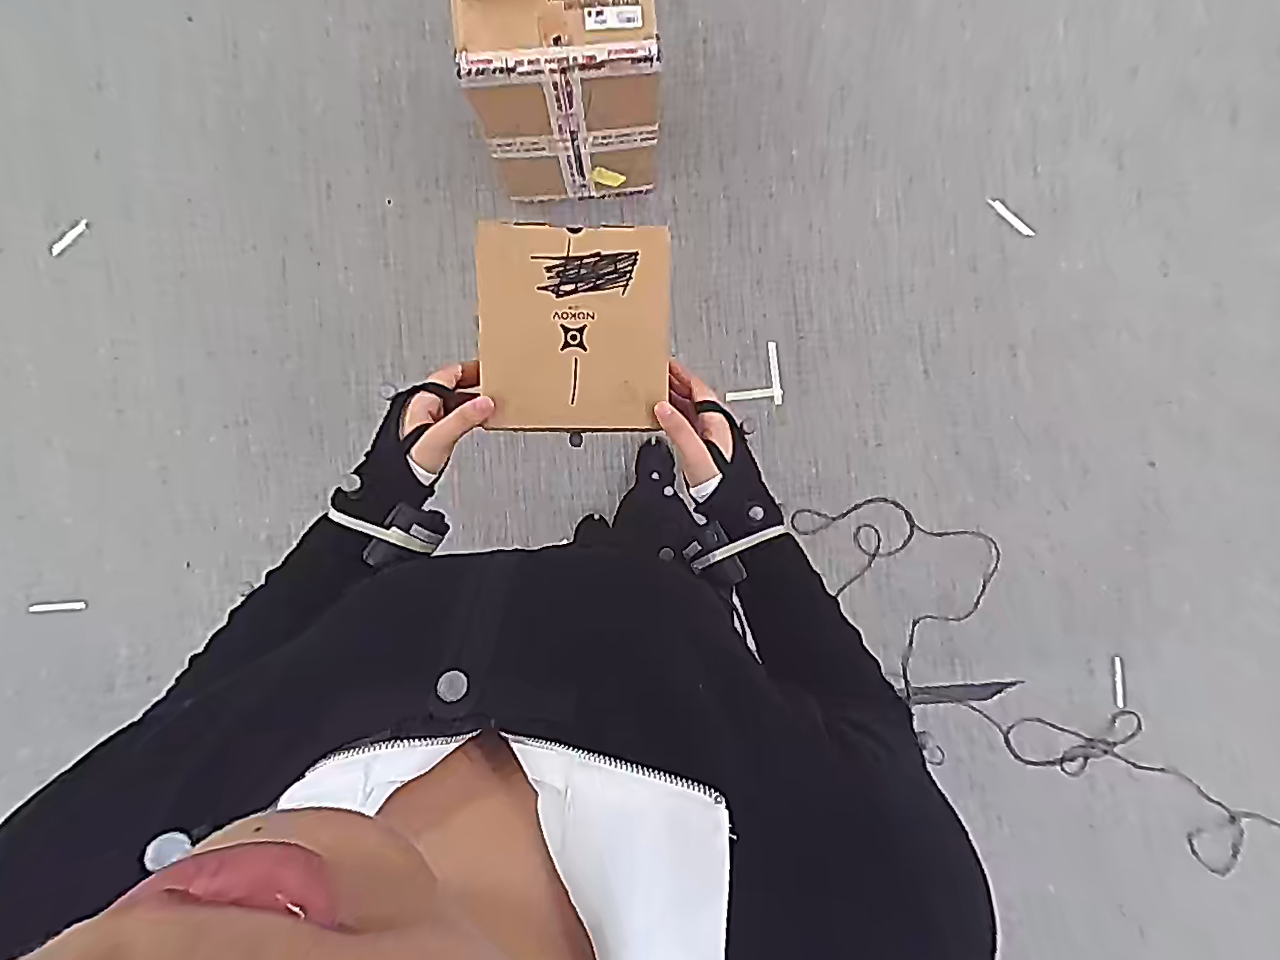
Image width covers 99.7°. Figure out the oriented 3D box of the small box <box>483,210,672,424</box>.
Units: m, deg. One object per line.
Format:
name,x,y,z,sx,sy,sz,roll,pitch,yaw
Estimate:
small box,-0.060,-0.149,0.552,0.168,0.176,0.179,0,94,-3
